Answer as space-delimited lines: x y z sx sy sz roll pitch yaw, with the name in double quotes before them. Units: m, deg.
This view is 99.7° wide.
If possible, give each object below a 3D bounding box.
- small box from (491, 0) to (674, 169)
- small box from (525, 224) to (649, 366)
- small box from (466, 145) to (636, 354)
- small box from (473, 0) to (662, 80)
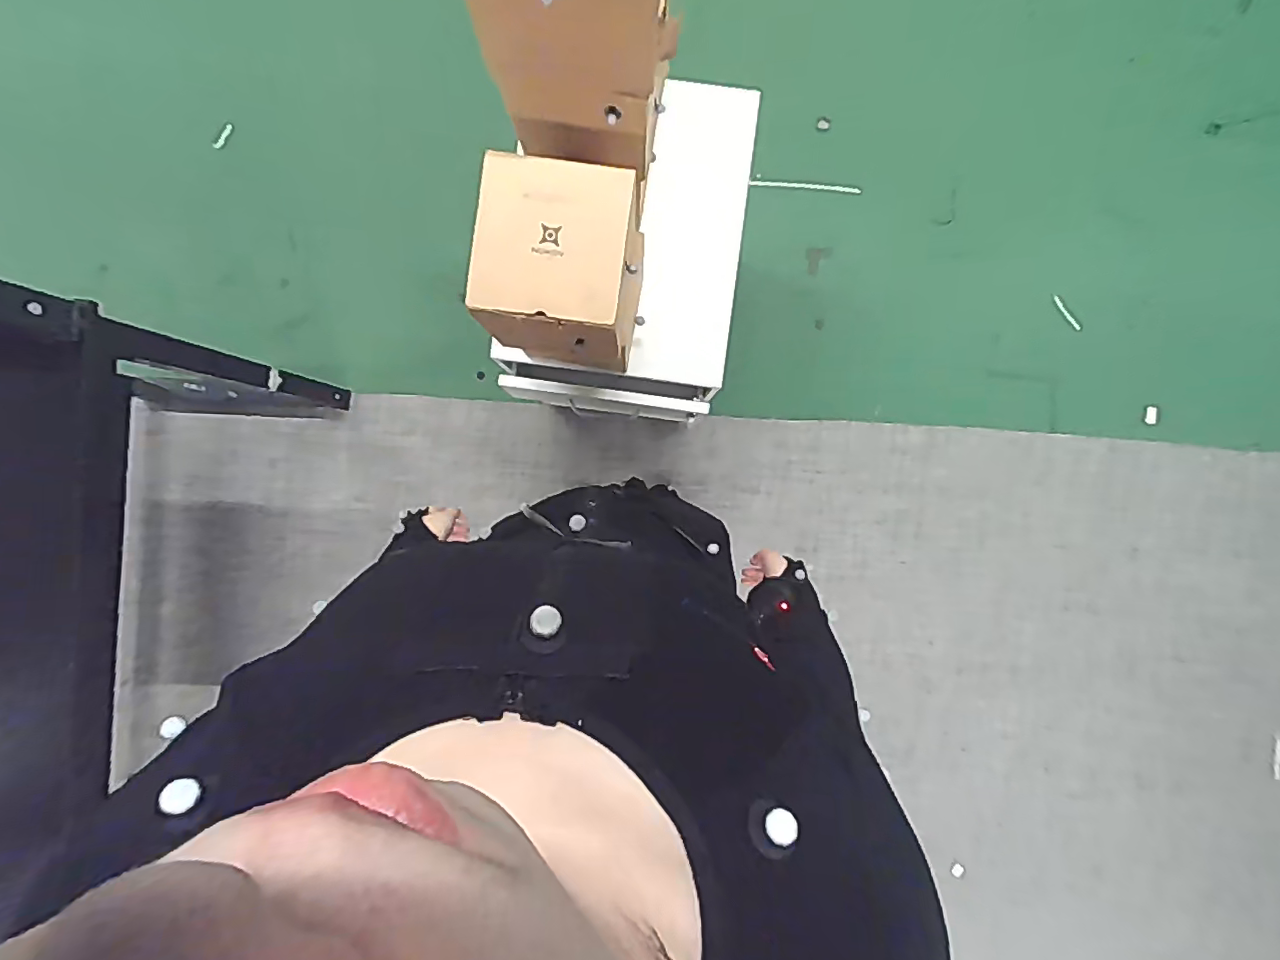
"small box" -0.060 -0.509 0.652 0.179 0.176 0.168 11 90 -2
"small box" -0.089 -0.279 0.814 0.179 0.176 0.168 10 89 -1
"small box" -0.096 -0.261 0.654 0.168 0.176 0.179 7 90 -2
"small box" -0.064 -0.502 0.487 0.179 0.176 0.168 4 91 -1
